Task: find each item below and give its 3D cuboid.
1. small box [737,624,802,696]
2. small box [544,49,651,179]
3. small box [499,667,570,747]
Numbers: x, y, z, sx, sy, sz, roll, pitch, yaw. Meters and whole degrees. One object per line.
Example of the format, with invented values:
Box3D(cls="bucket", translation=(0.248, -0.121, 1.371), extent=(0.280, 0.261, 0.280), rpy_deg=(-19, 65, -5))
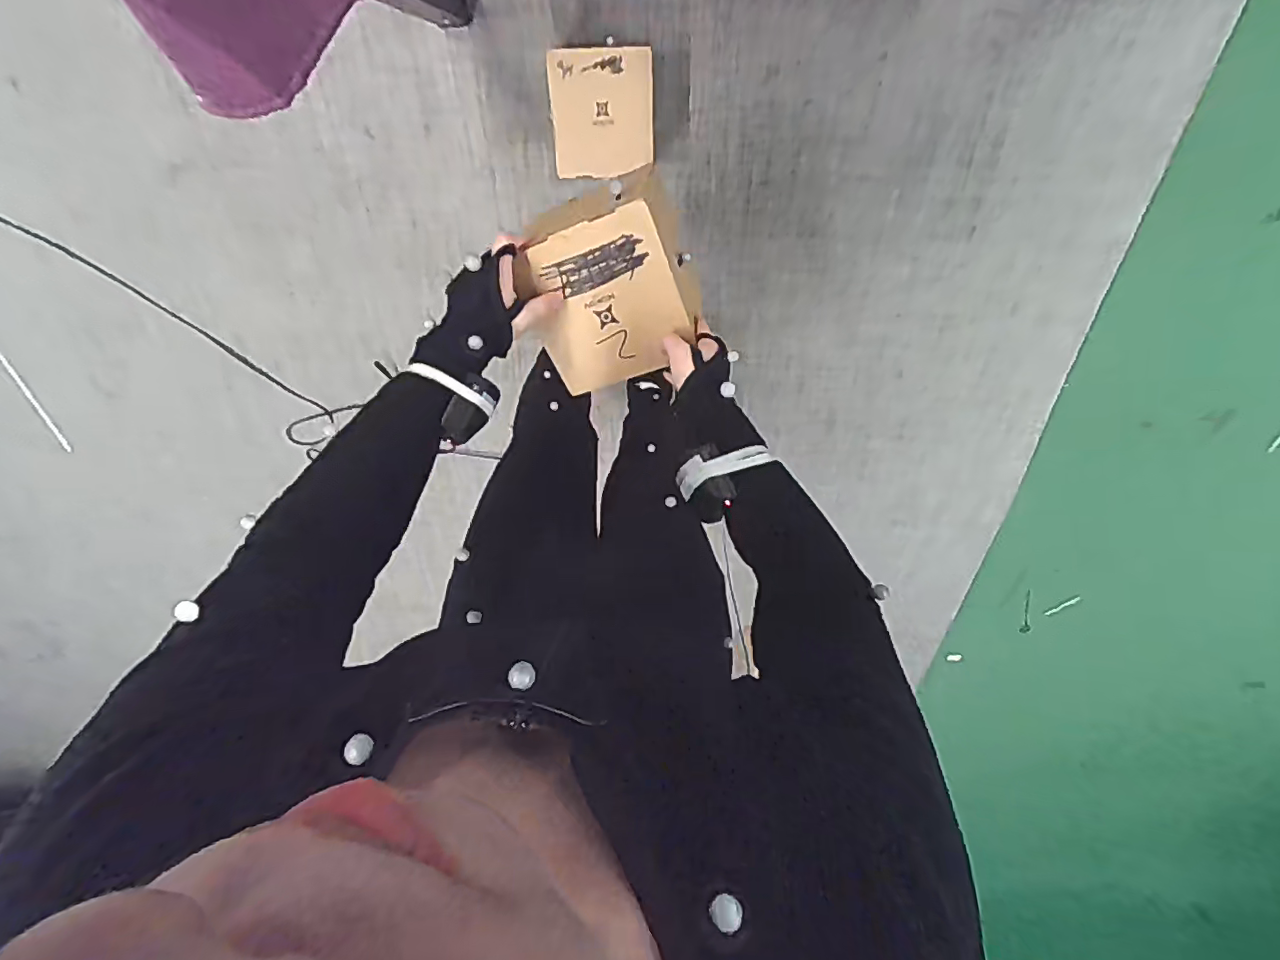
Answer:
Box3D(cls="small box", translation=(0.426, 0.599, 1.811), extent=(0.179, 0.176, 0.168), rpy_deg=(-2, 126, 1))
Box3D(cls="small box", translation=(-0.065, -0.636, 0.940), extent=(0.168, 0.176, 0.179), rpy_deg=(0, 126, 0))
Box3D(cls="small box", translation=(-0.318, 0.701, 1.679), extent=(0.179, 0.176, 0.168), rpy_deg=(-7, 124, 5))
